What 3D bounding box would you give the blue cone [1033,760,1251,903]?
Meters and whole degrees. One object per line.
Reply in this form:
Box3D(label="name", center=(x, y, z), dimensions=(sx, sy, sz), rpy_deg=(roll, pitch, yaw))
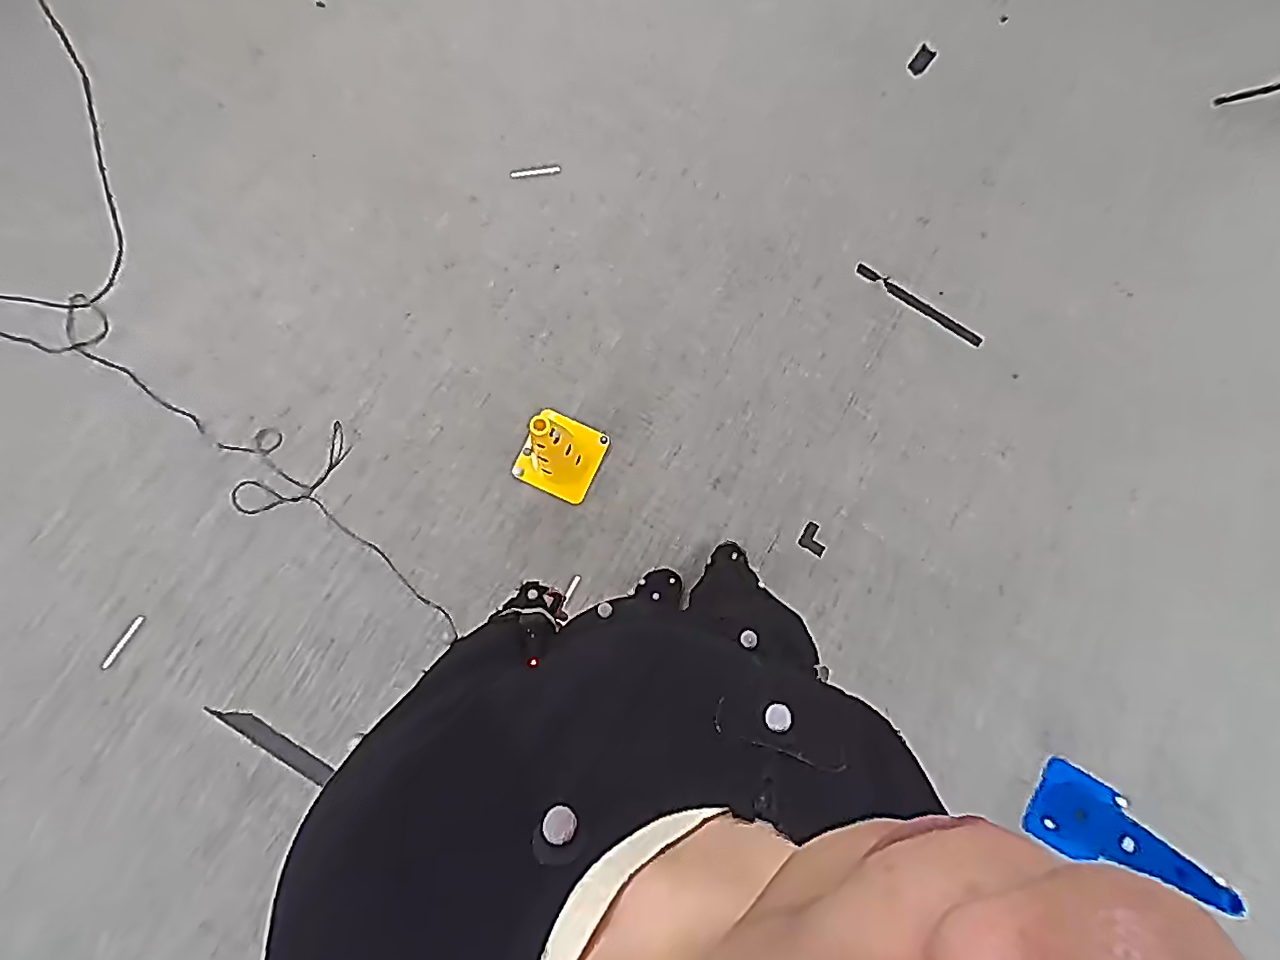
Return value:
Box3D(label="blue cone", center=(1.071, 0.781, 1.154), dimensions=(0.193, 0.380, 0.192), rpy_deg=(32, 81, 3))
